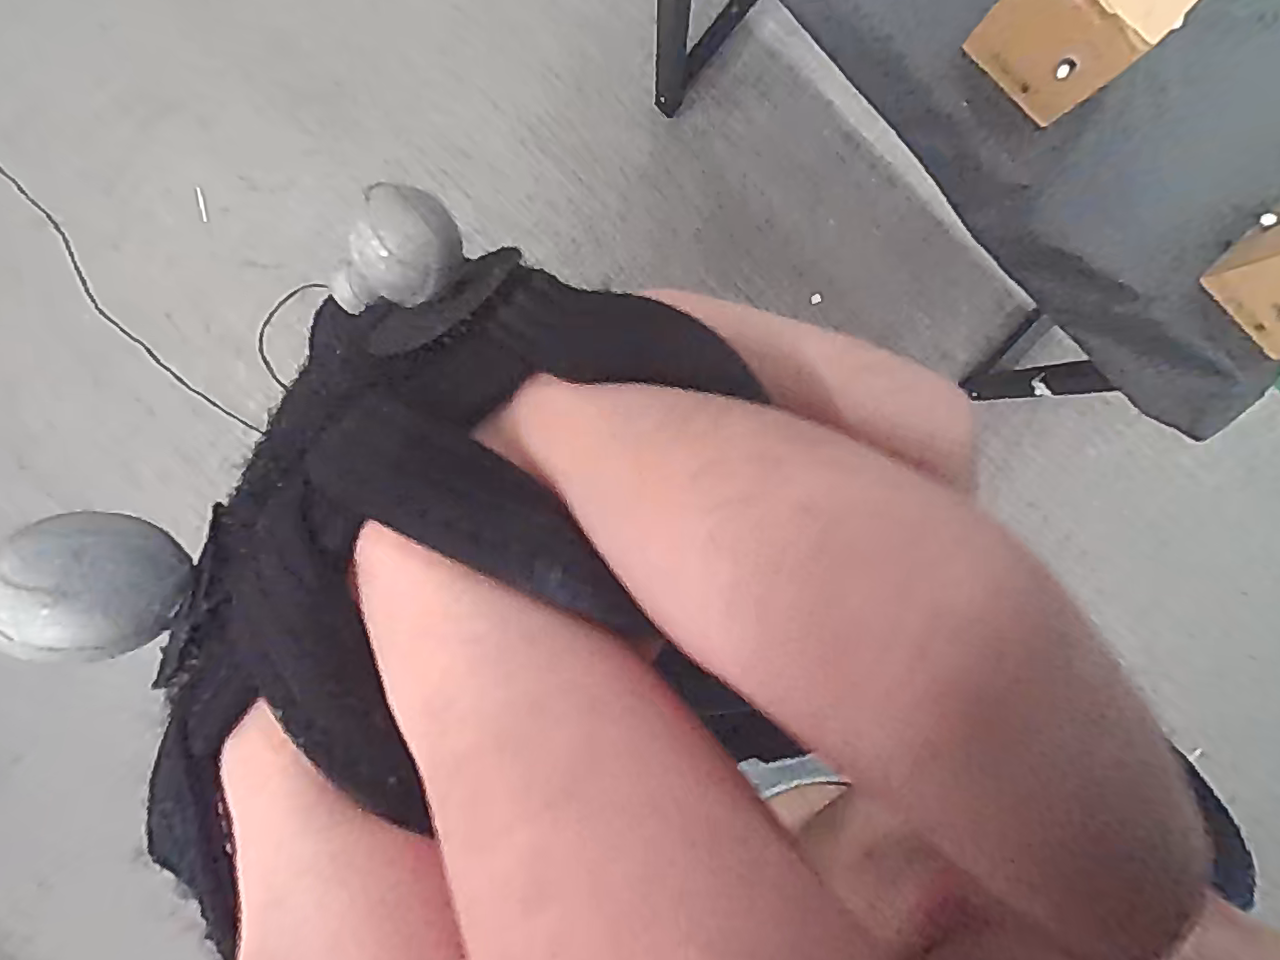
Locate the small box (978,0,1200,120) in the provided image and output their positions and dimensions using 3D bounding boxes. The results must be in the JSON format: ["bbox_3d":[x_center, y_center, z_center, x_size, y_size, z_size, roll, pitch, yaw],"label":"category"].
[{"bbox_3d":[0.555,-0.593,0.653,0.168,0.176,0.179,41,93,-5],"label":"small box"}]

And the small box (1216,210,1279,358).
[{"bbox_3d":[0.905,-0.276,0.681,0.179,0.176,0.168,-45,92,5],"label":"small box"}]
